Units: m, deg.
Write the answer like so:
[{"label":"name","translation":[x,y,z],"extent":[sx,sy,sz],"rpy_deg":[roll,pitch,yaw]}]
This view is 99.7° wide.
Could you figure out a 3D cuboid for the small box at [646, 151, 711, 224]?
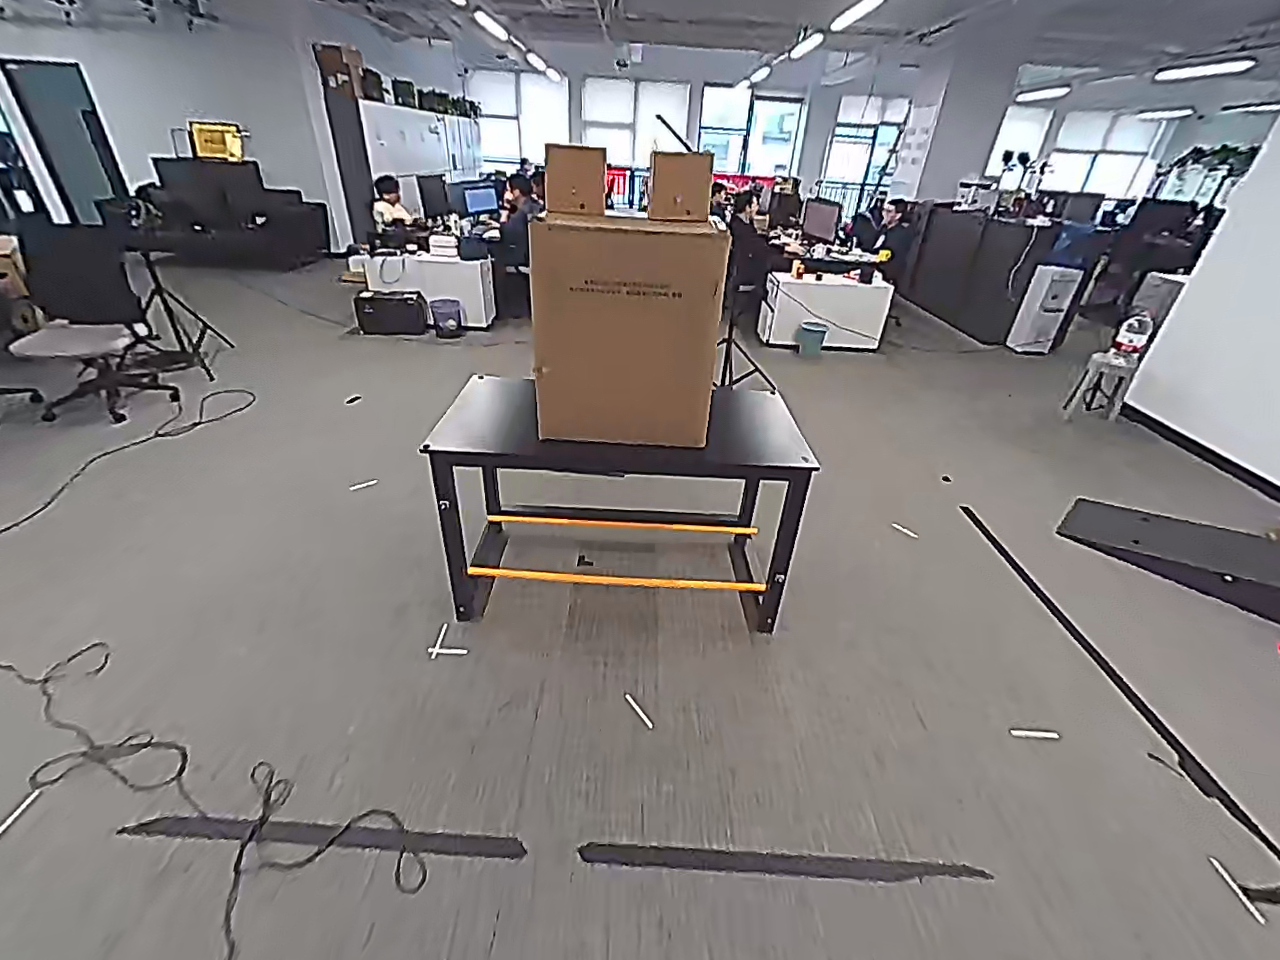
[{"label":"small box","translation":[0.103,-0.835,1.544],"extent":[0.168,0.176,0.179],"rpy_deg":[0,30,-3]}]

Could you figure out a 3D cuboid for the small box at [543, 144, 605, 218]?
[{"label":"small box","translation":[-0.189,-0.864,1.565],"extent":[0.168,0.176,0.179],"rpy_deg":[2,30,-3]}]
